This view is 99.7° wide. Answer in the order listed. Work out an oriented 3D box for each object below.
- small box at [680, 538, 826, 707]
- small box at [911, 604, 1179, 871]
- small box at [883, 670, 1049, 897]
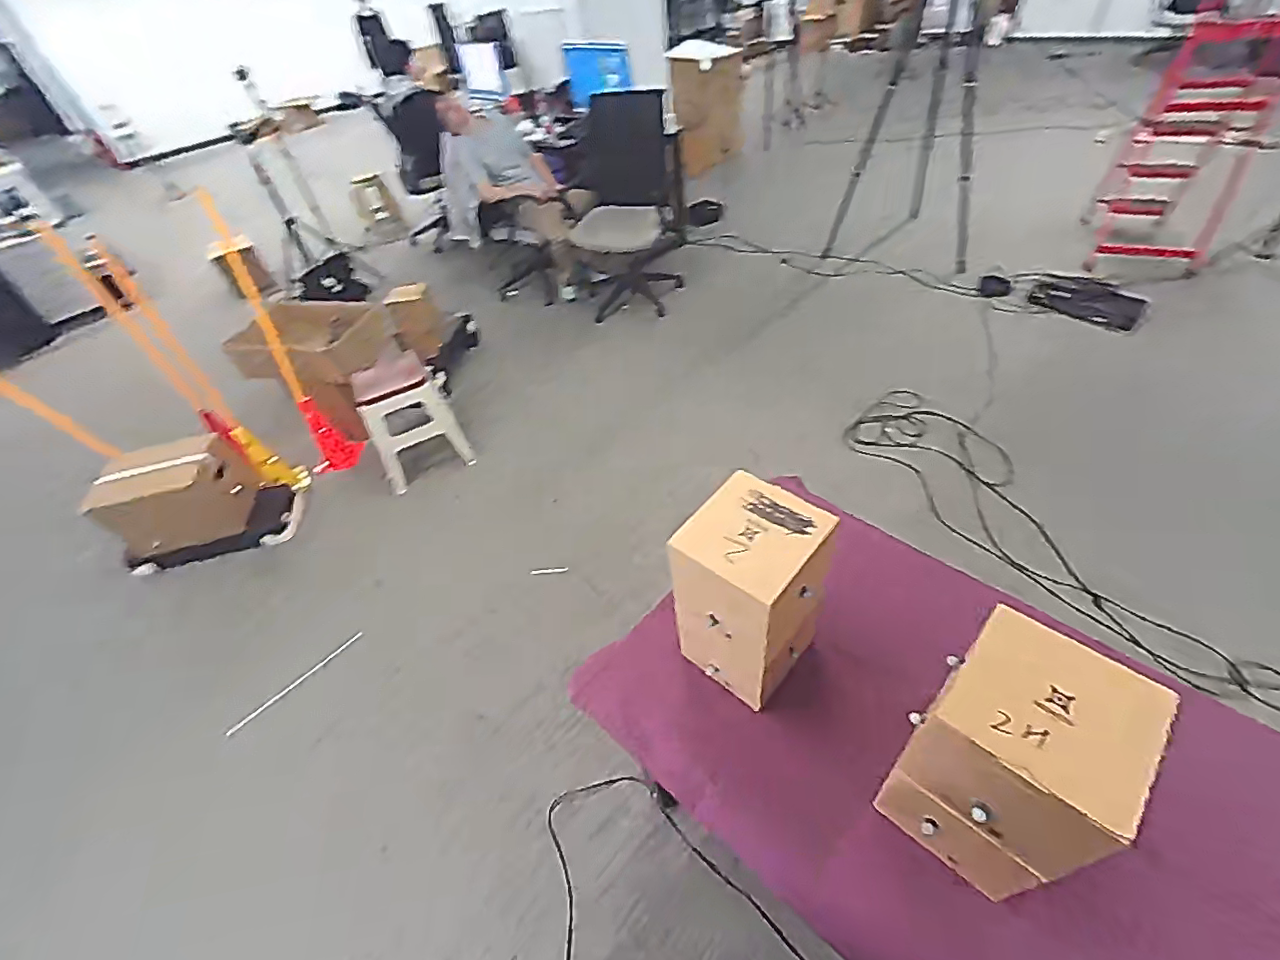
[{"bbox_3d":[0.185,0.238,0.907,0.168,0.176,0.179,30,57,33],"label":"small box"},{"bbox_3d":[0.427,0.280,0.597,0.168,0.176,0.179,31,57,34],"label":"small box"},{"bbox_3d":[0.442,0.398,0.711,0.168,0.176,0.179,30,56,33],"label":"small box"}]
